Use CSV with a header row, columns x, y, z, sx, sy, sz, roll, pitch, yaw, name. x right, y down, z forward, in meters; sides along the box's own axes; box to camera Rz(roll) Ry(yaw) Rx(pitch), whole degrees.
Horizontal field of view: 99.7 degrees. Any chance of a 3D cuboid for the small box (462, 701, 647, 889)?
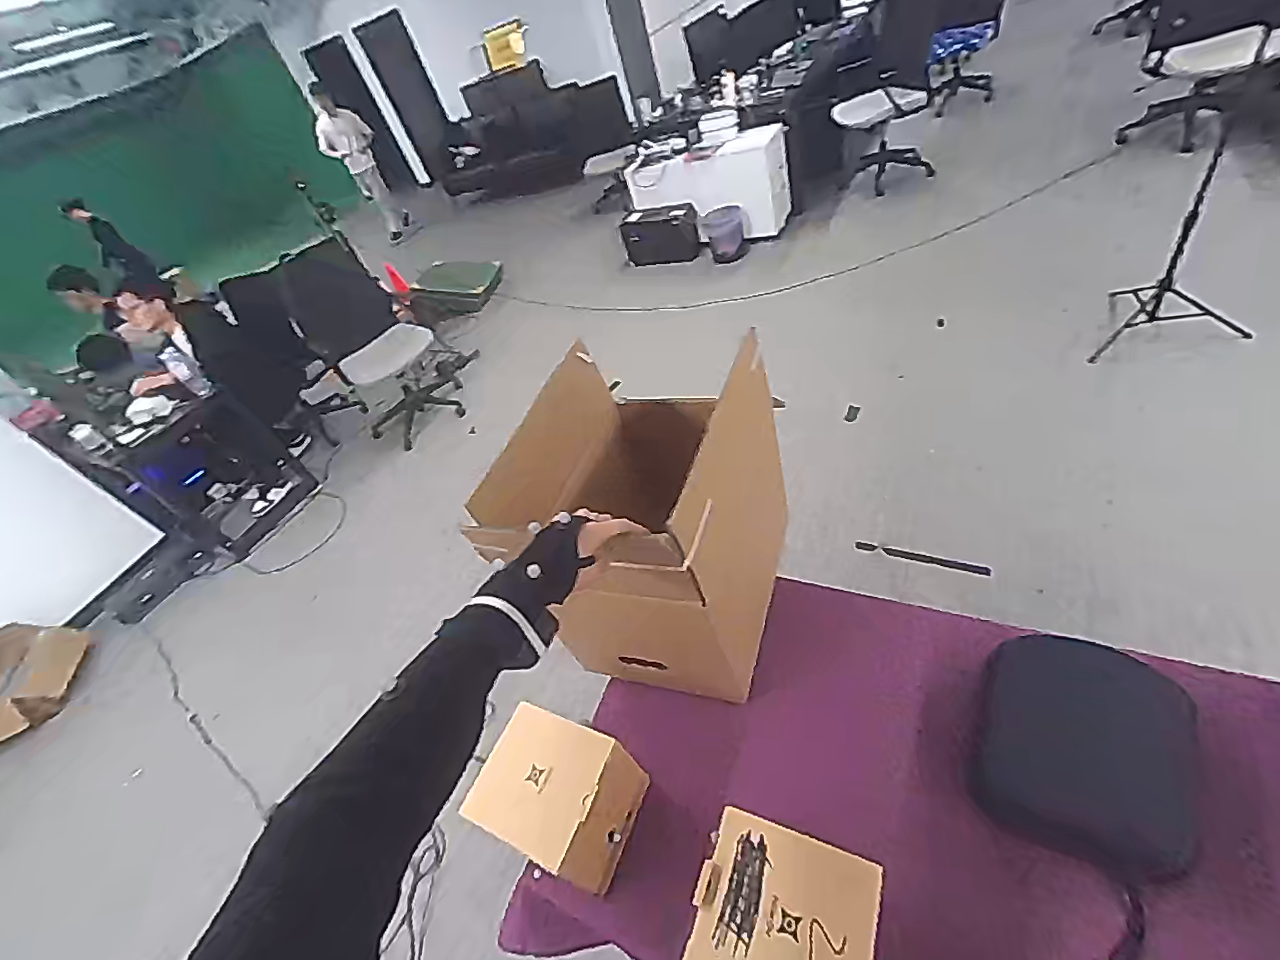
x,y,z,sx,sy,sz,roll,pitch,yaw,name
-0.114,0.460,0.790,0.179,0.176,0.168,9,50,29,small box
